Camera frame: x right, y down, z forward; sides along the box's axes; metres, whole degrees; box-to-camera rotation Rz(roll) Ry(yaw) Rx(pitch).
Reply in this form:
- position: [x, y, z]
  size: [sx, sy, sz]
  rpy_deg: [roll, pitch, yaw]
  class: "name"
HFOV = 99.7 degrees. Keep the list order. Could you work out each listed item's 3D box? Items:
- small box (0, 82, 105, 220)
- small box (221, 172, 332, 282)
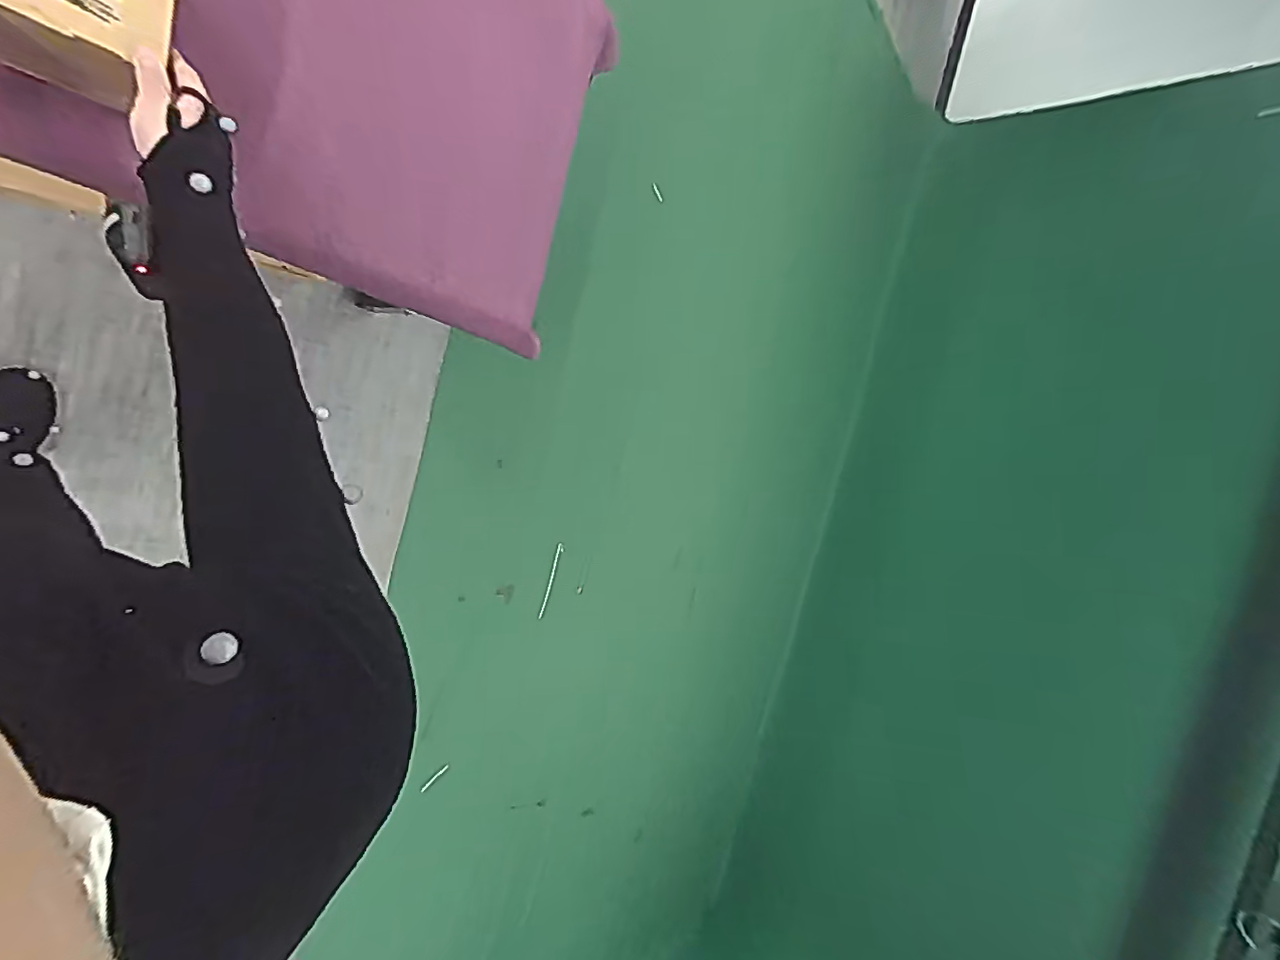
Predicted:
- position: [-1.075, -0.575, 0.953]
  size: [0.179, 0.176, 0.168]
  rpy_deg: [1, 101, -47]
  class: "small box"
- position: [-0.829, -0.561, 1.228]
  size: [0.168, 0.176, 0.179]
  rpy_deg: [6, 97, -49]
  class: "small box"
